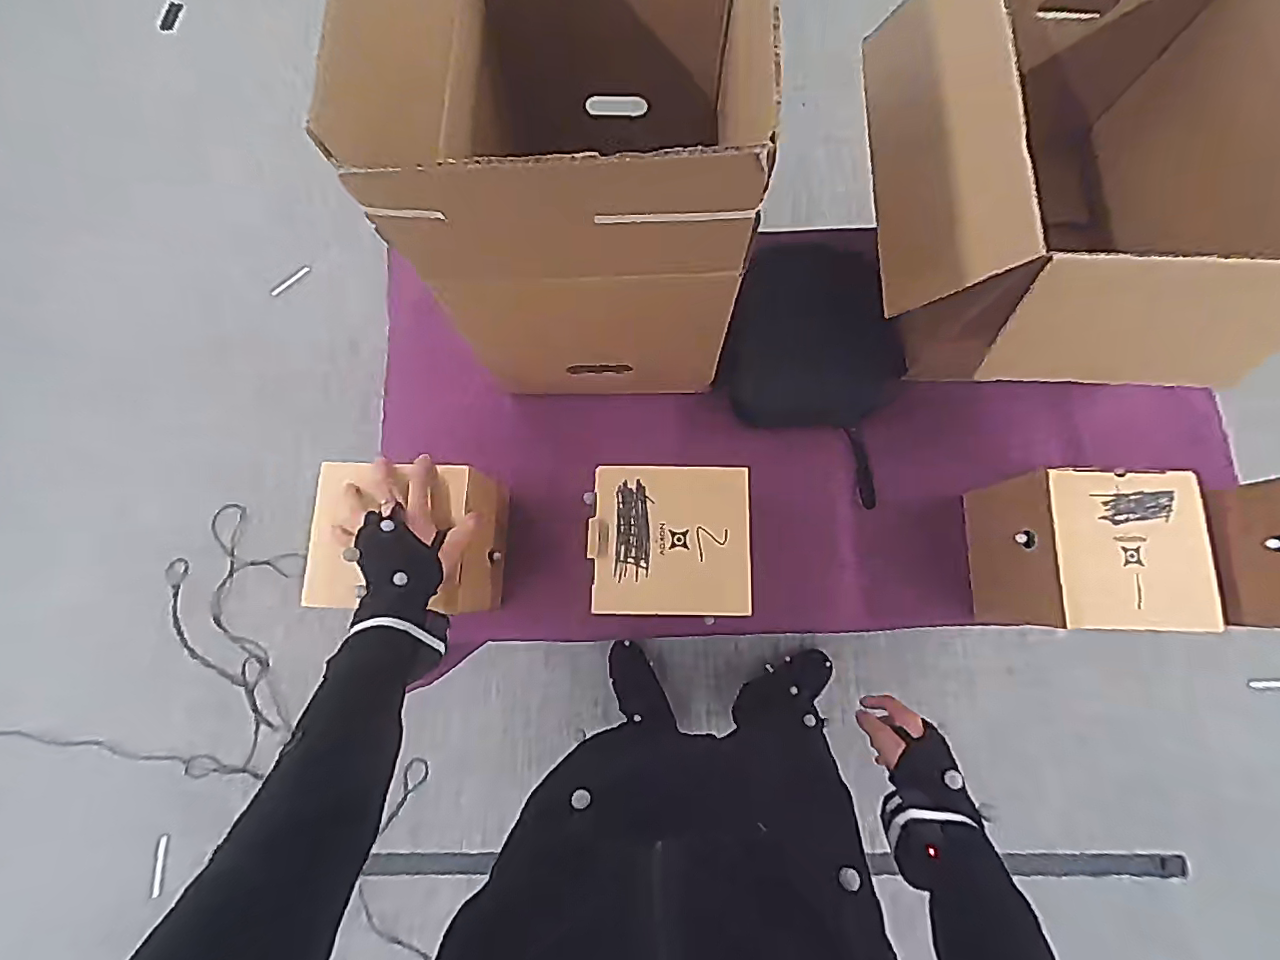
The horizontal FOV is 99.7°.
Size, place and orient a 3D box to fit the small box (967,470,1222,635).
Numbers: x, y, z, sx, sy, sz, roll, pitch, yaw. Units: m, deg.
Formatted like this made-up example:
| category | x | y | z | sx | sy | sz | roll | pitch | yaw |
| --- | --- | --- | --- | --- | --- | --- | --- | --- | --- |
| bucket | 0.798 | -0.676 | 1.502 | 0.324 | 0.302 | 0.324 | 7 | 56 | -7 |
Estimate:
| category | x | y | z | sx | sy | sz | roll | pitch | yaw |
| --- | --- | --- | --- | --- | --- | --- | --- | --- | --- |
| small box | 0.531 | 0.093 | 0.663 | 0.168 | 0.176 | 0.179 | 1 | 79 | 2 |

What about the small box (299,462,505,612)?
| category | x | y | z | sx | sy | sz | roll | pitch | yaw |
| --- | --- | --- | --- | --- | --- | --- | --- | --- | --- |
| small box | -0.283 | 0.079 | 0.683 | 0.179 | 0.176 | 0.168 | 2 | 78 | 0 |
